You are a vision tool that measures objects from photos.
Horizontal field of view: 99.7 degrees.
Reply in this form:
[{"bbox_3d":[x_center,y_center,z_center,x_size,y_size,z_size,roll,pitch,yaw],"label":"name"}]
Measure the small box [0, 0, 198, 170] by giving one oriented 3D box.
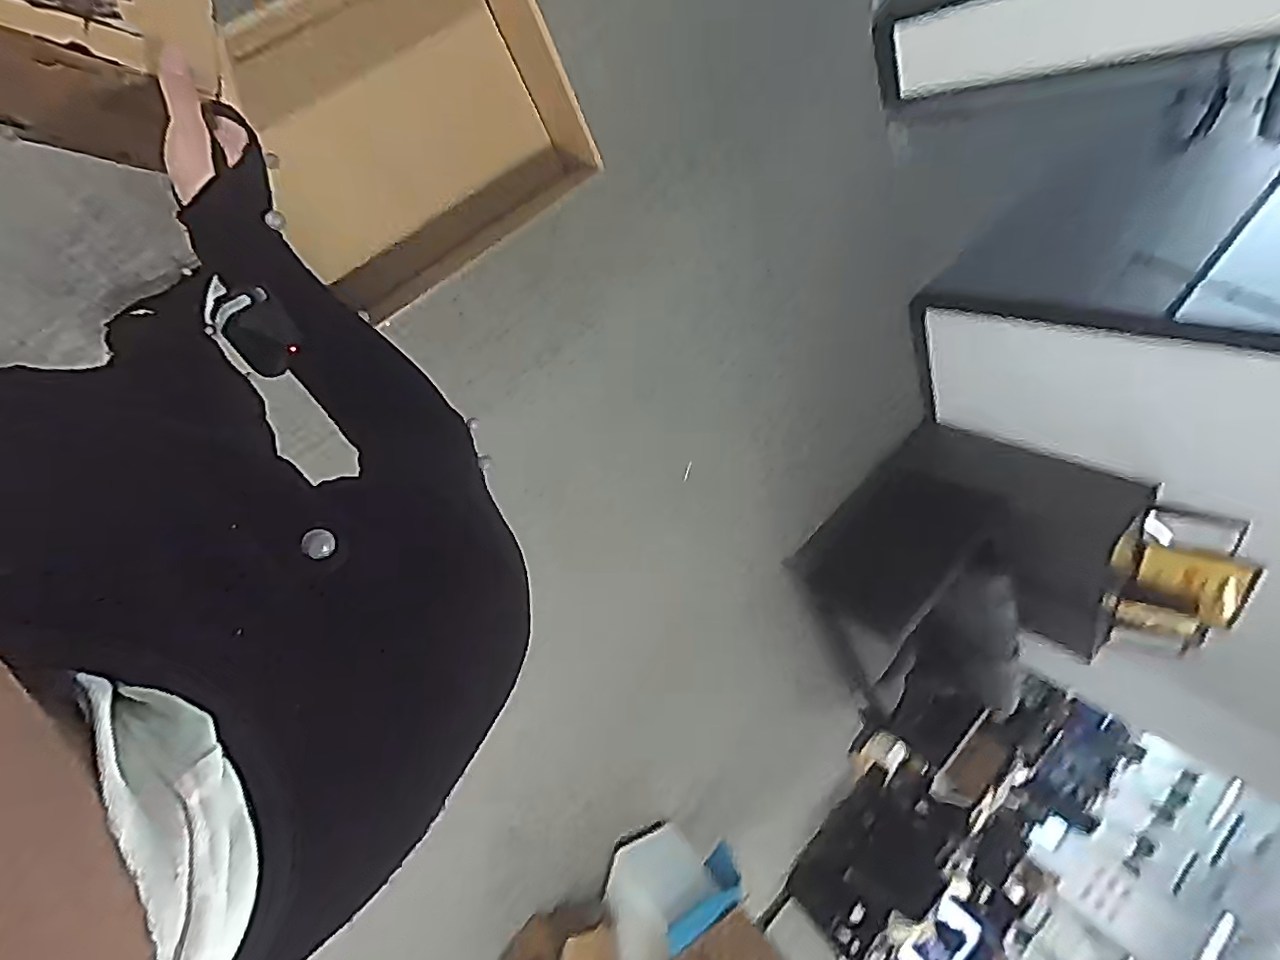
[{"bbox_3d":[-0.473,-0.390,0.438,0.168,0.176,0.179,-6,93,-43],"label":"small box"}]
